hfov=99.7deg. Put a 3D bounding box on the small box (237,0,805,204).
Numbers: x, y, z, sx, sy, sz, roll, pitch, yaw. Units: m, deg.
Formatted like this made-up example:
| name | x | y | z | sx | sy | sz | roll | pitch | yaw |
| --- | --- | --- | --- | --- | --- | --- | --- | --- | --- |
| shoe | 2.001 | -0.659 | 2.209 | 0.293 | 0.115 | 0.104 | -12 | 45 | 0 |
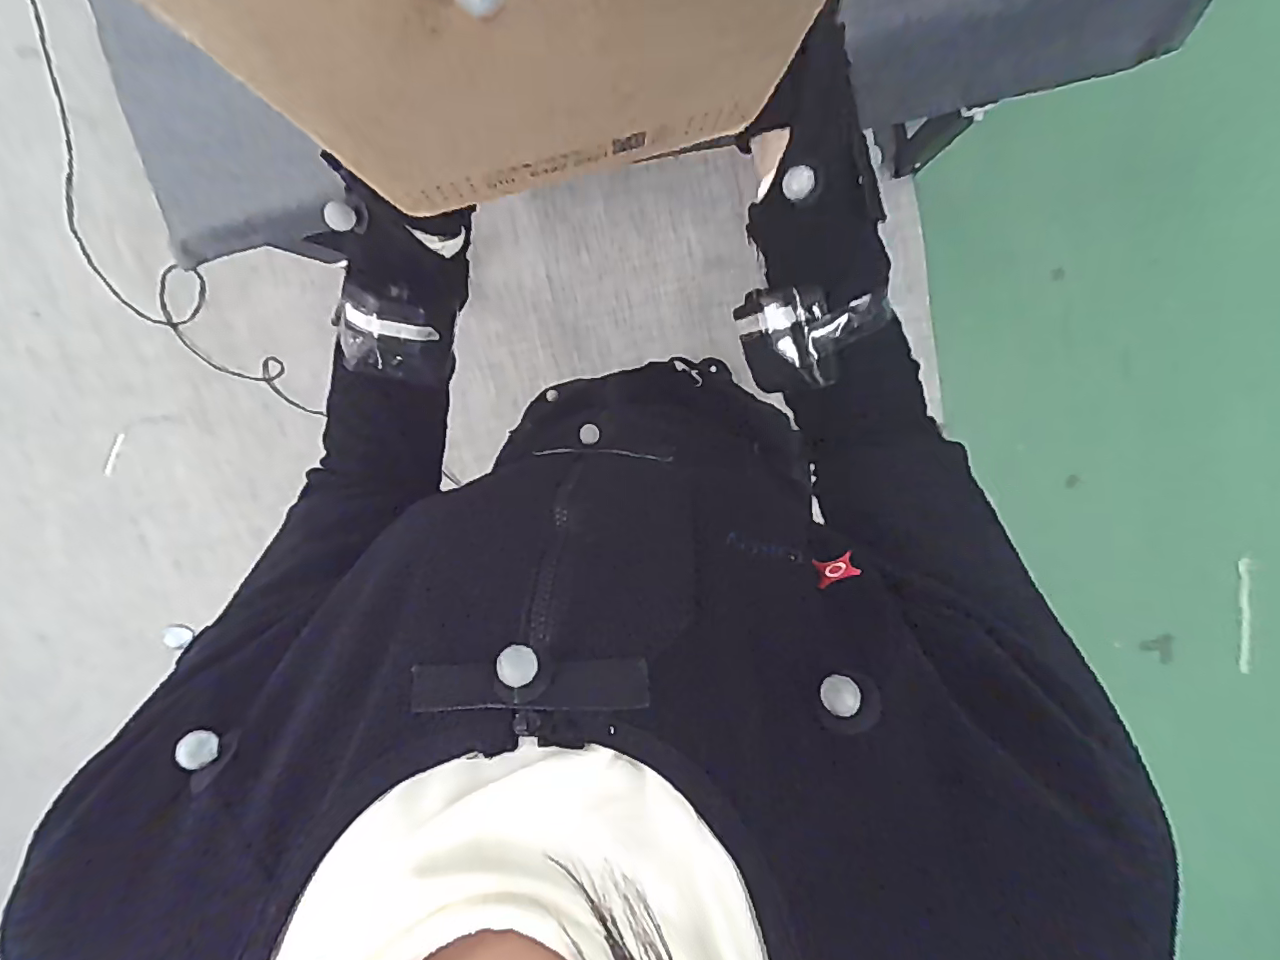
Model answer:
| name | x | y | z | sx | sy | sz | roll | pitch | yaw |
| --- | --- | --- | --- | --- | --- | --- | --- | --- | --- |
| small box | -0.045 | -0.214 | 0.157 | 0.168 | 0.176 | 0.179 | -15 | 100 | 0 |
